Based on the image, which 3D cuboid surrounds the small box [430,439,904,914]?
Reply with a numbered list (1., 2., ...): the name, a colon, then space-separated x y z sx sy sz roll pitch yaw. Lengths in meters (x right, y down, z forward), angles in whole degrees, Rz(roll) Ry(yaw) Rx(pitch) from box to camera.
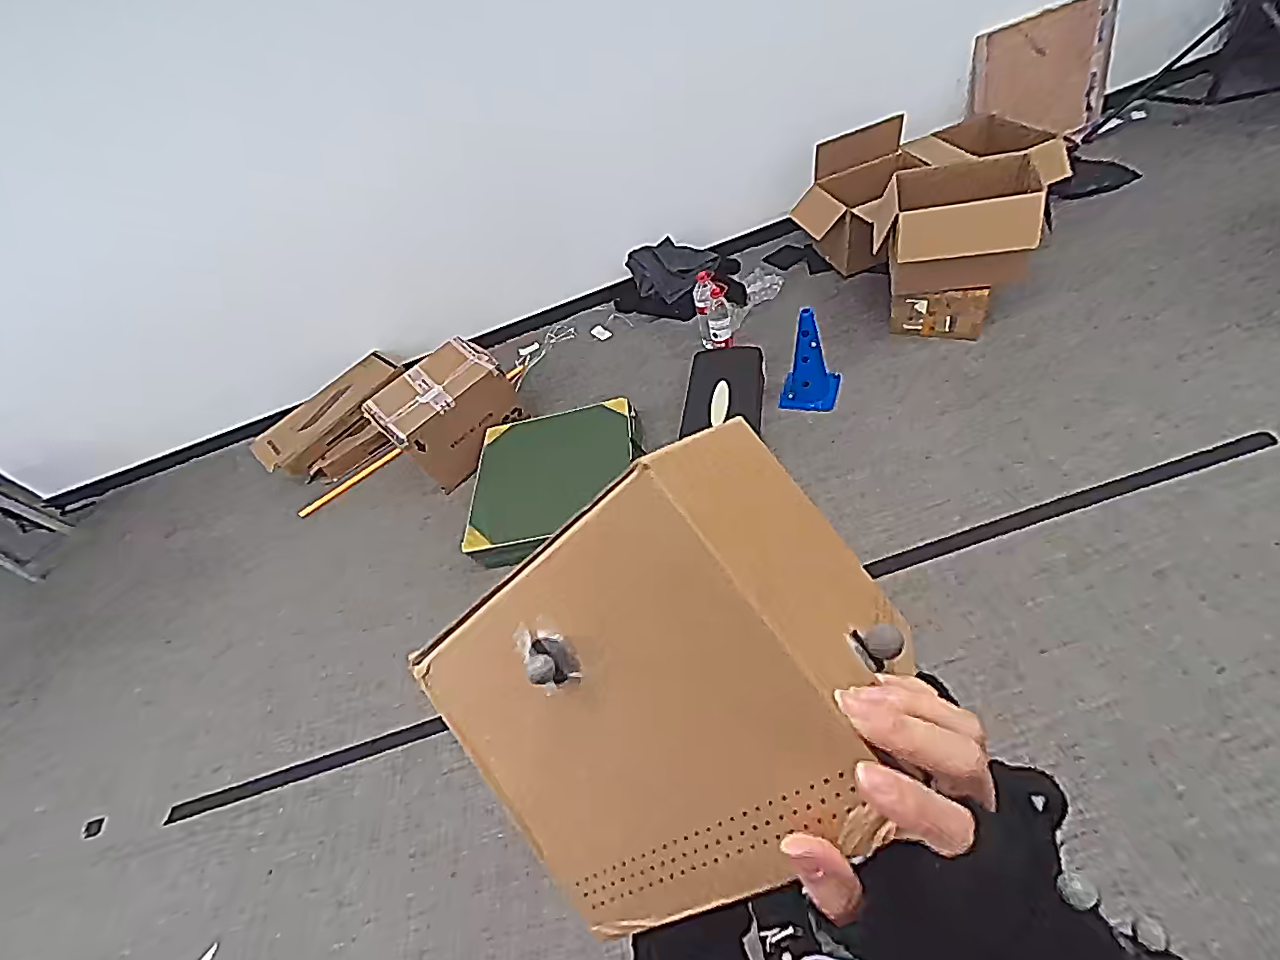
1. small box: 0.024 0.103 0.318 0.179 0.168 0.176 -41 84 26
